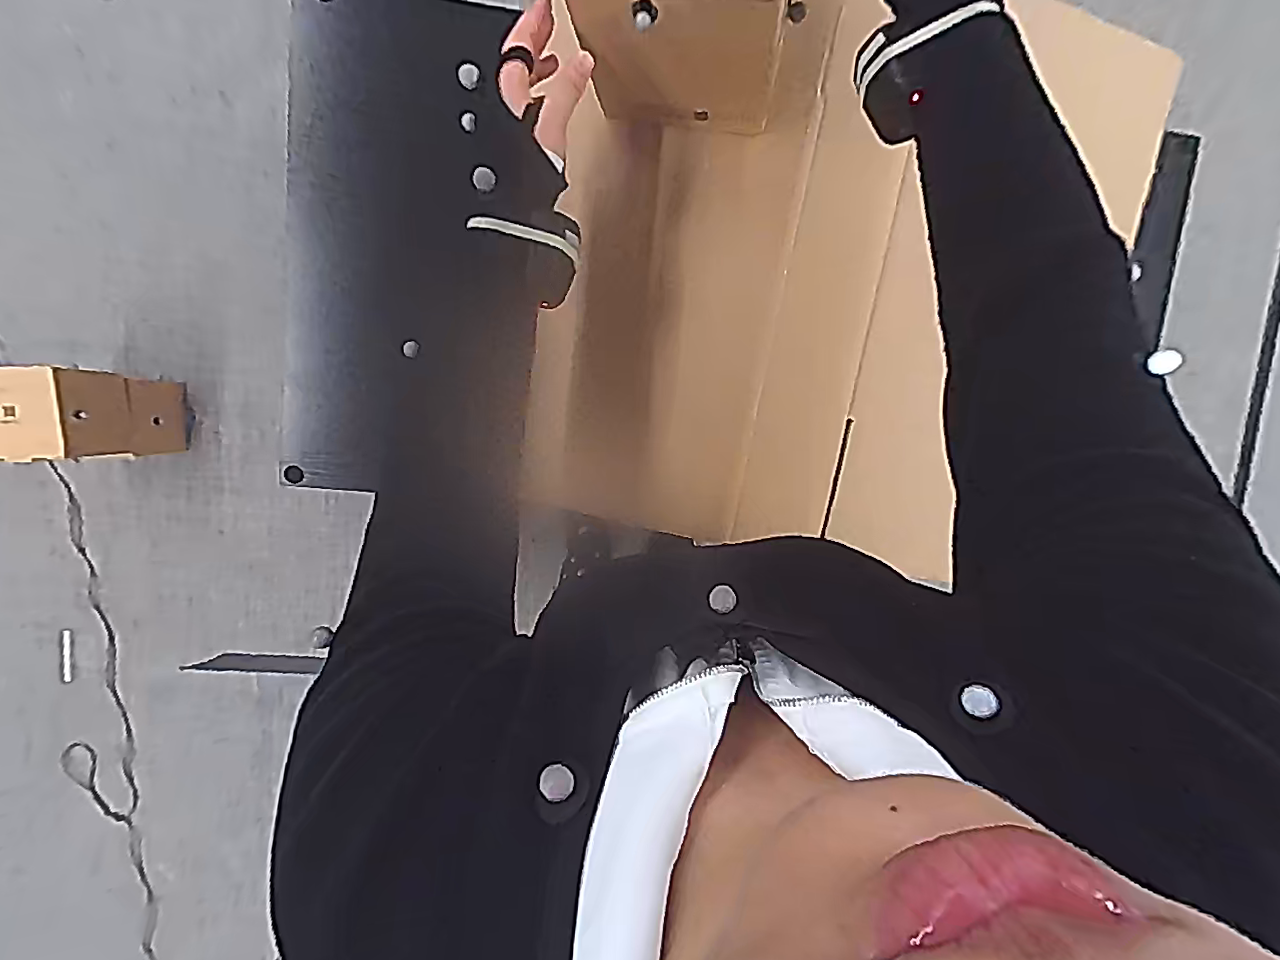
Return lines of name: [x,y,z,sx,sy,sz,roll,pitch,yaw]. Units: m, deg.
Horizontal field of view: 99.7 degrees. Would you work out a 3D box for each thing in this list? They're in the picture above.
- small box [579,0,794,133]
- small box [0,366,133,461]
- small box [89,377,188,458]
small box: [0.048,-0.435,0.451,0.168,0.176,0.179,12,95,7]
small box: [-1.171,-0.132,1.081,0.168,0.176,0.179,-2,96,-7]
small box: [-1.188,-0.146,1.242,0.168,0.176,0.179,1,98,-6]
